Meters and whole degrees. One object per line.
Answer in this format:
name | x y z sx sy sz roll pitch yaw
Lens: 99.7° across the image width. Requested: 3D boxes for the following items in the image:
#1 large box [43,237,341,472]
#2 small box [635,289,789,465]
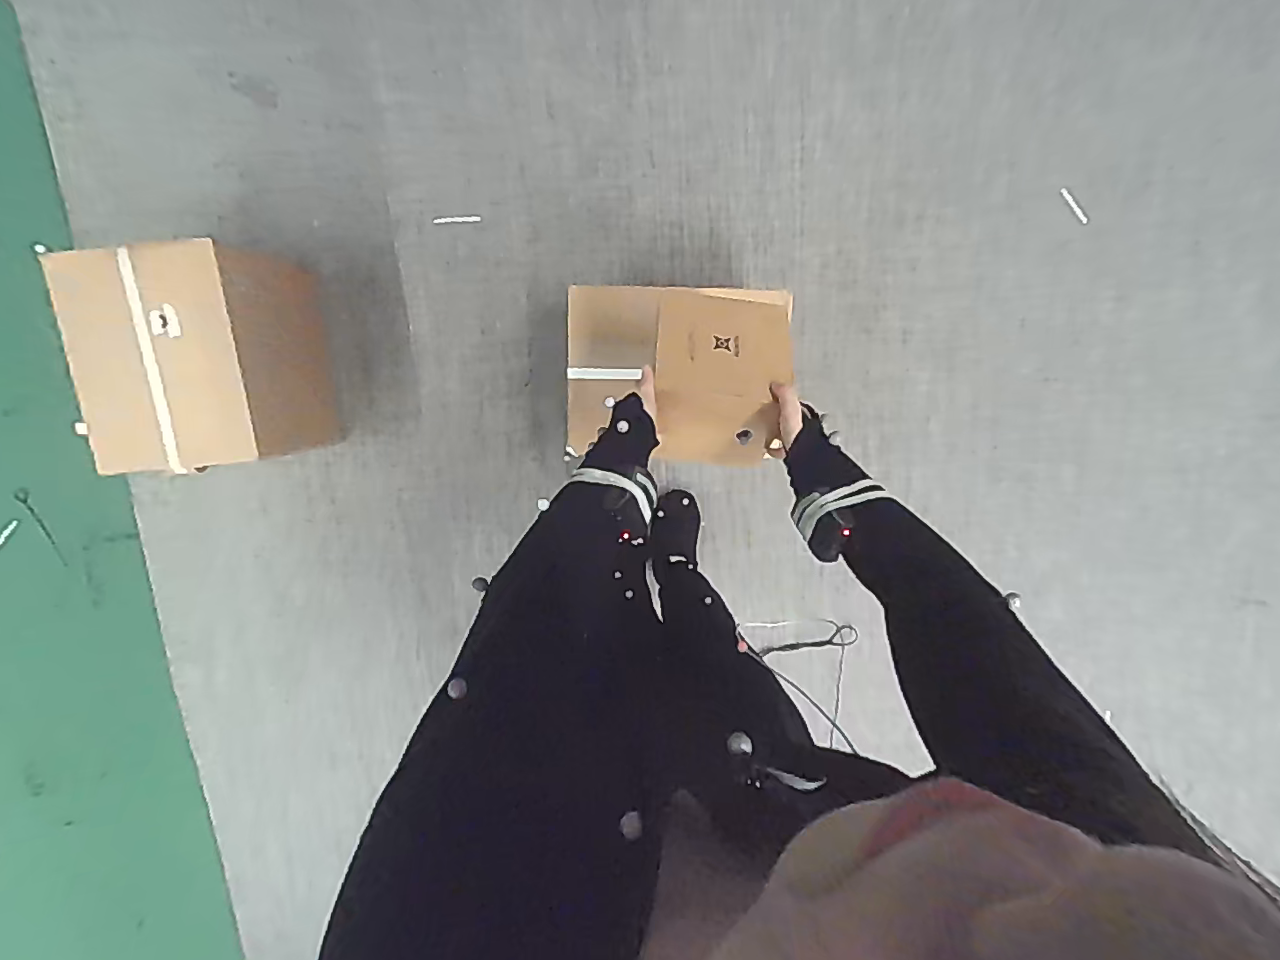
large box | -0.889 -0.245 1.133 0.320 0.320 0.408 -4 100 0
small box | 0.093 -0.135 0.756 0.179 0.176 0.168 7 62 -3
